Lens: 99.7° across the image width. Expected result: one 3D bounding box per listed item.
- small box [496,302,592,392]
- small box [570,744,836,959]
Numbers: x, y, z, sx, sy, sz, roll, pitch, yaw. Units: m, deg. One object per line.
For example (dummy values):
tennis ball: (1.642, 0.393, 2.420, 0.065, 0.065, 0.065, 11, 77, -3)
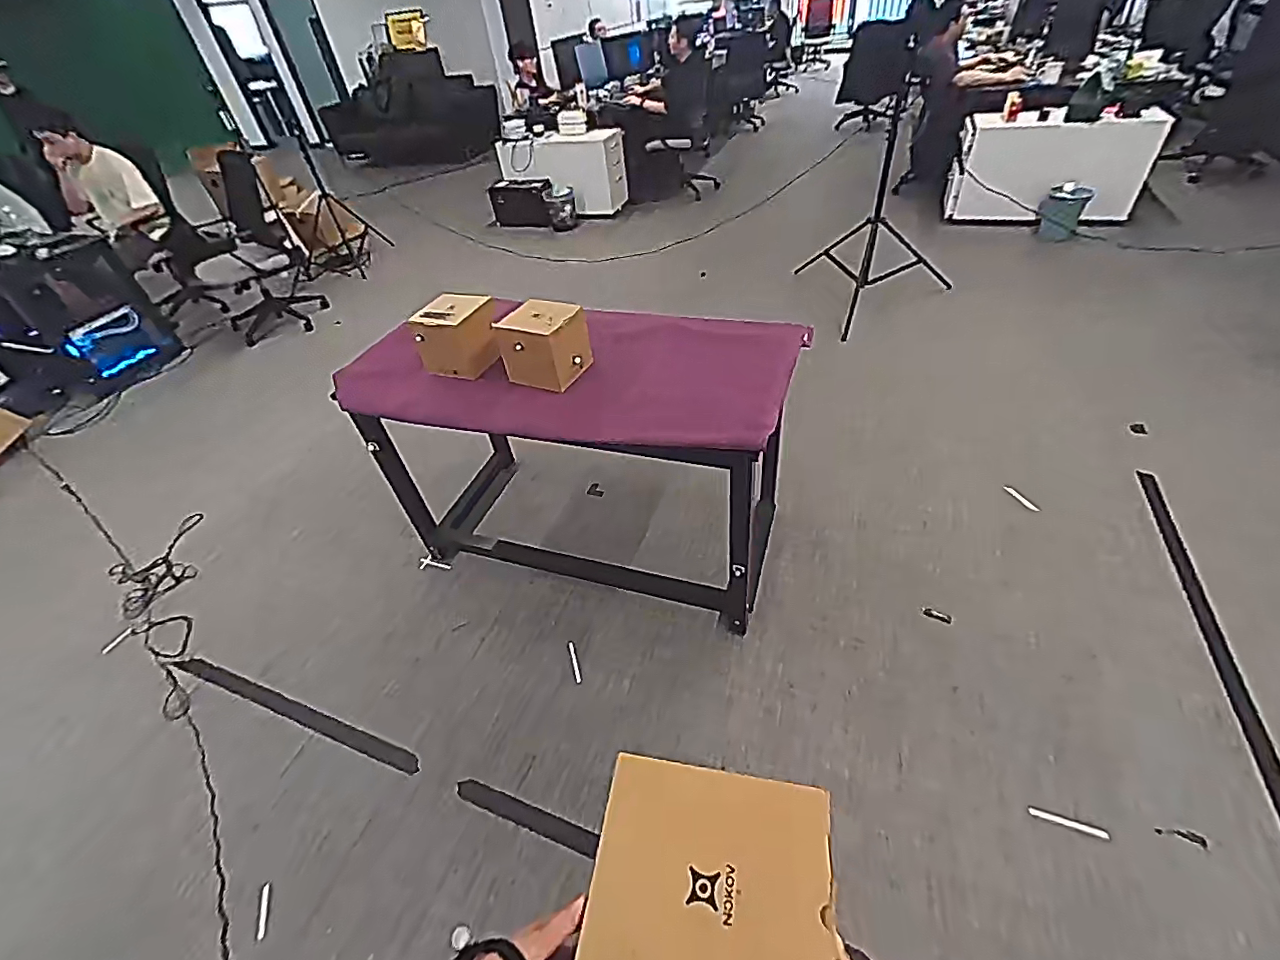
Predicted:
small box: (-0.249, -0.355, 1.444, 0.179, 0.176, 0.168, 16, 47, 23)
small box: (0.057, 0.347, 0.447, 0.179, 0.176, 0.168, 4, 43, 11)
